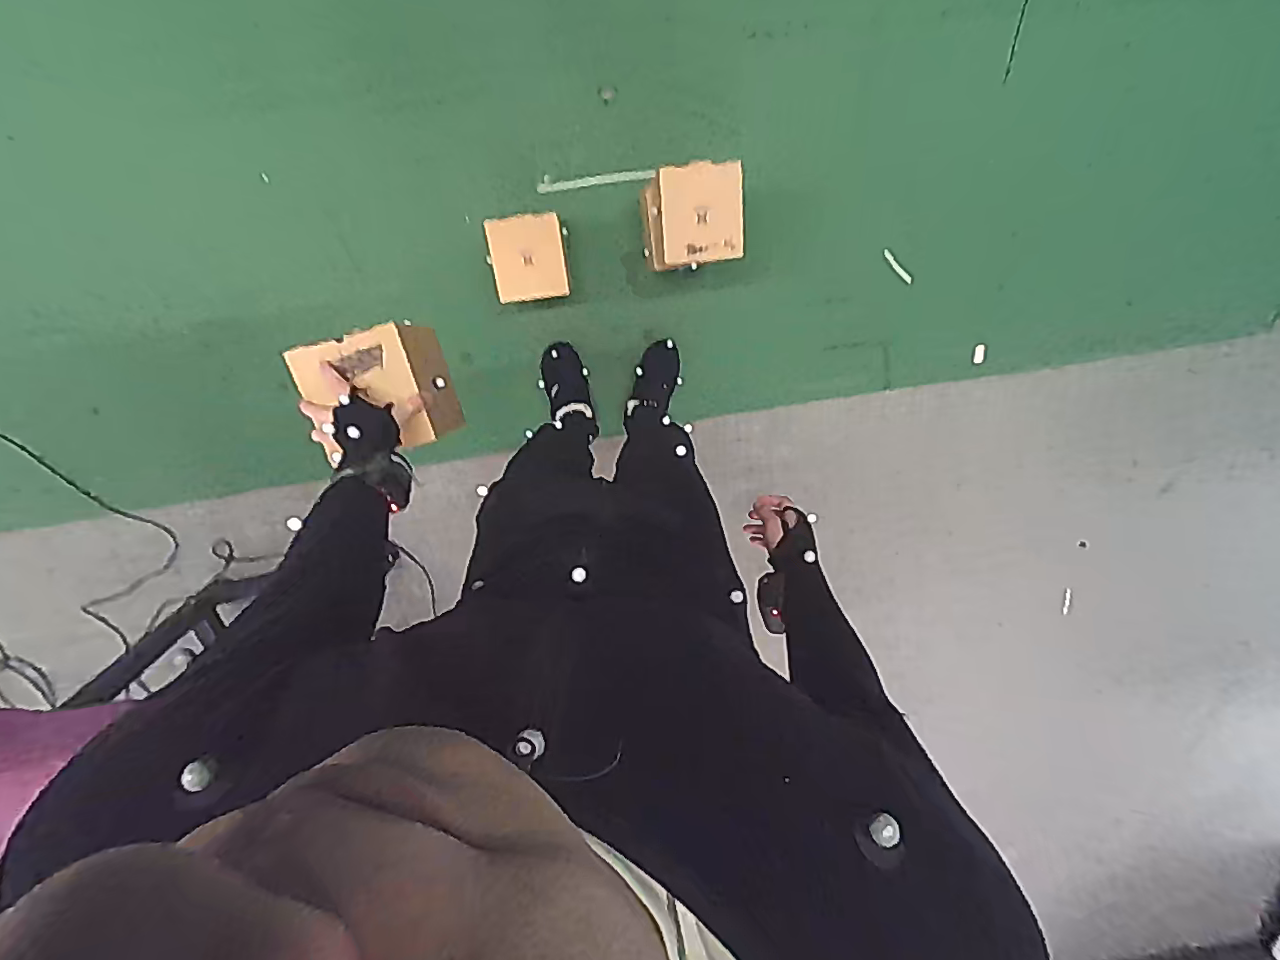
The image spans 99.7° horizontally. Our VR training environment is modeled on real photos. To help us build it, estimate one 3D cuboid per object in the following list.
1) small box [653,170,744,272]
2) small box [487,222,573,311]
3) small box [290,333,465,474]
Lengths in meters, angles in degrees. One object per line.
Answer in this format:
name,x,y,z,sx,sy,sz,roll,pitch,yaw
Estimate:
small box,0.120,-0.544,1.155,0.168,0.176,0.179,-6,111,-3
small box,-0.258,-0.517,1.313,0.168,0.176,0.179,-8,111,-1
small box,-0.400,-0.126,0.857,0.168,0.176,0.179,-14,104,2
